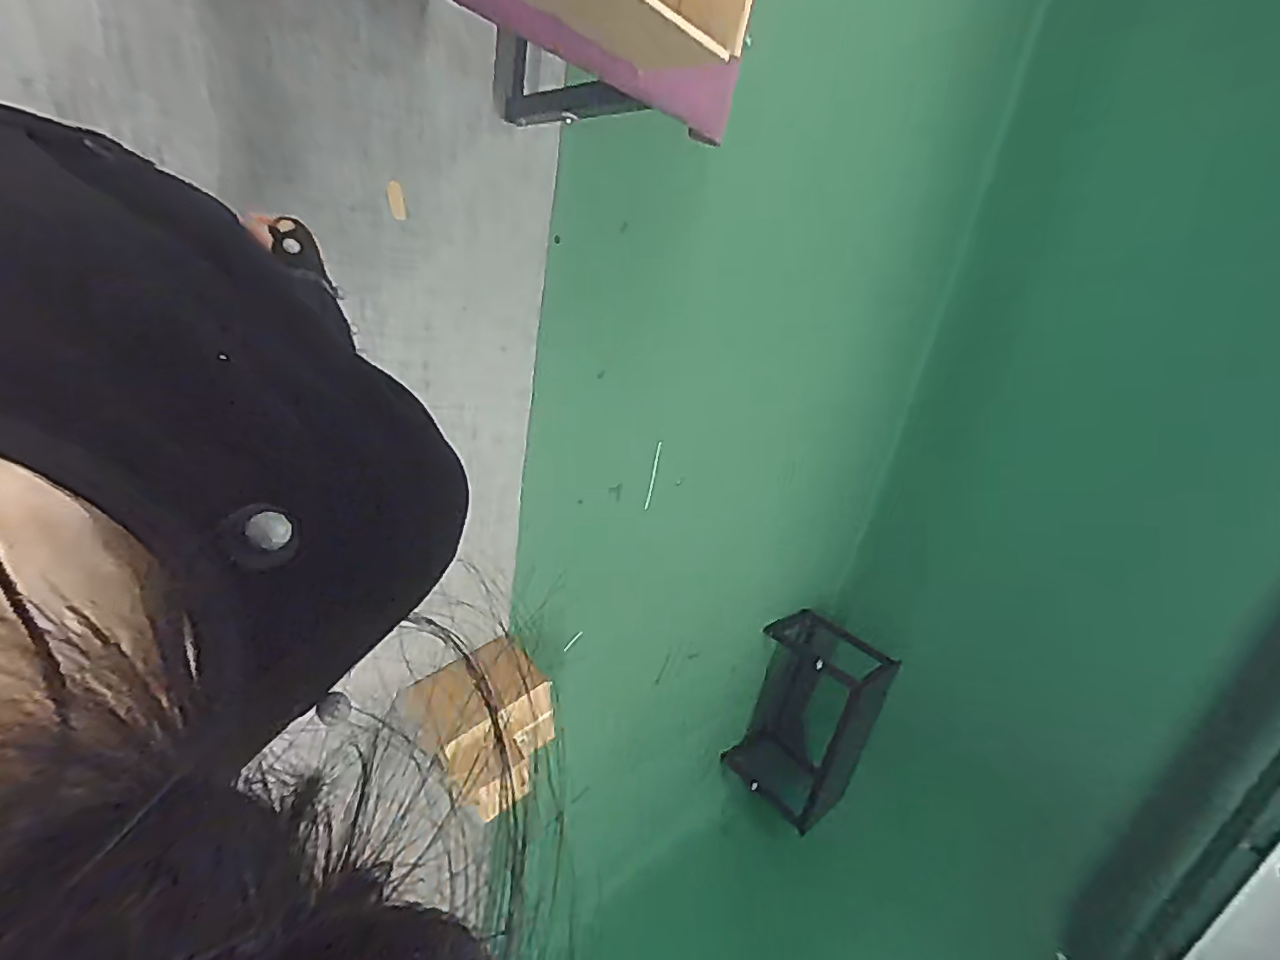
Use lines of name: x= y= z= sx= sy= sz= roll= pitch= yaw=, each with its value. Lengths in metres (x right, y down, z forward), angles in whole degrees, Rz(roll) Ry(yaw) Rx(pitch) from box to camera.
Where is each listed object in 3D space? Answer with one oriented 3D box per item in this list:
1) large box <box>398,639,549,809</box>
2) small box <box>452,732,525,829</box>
large box: x=-0.593 y=0.862 z=1.961 sx=0.408 sy=0.320 sz=0.320 roll=-25 pitch=128 yaw=-36
small box: x=-0.492 y=0.961 z=1.742 sx=0.179 sy=0.176 sz=0.168 roll=-19 pitch=123 yaw=-38
